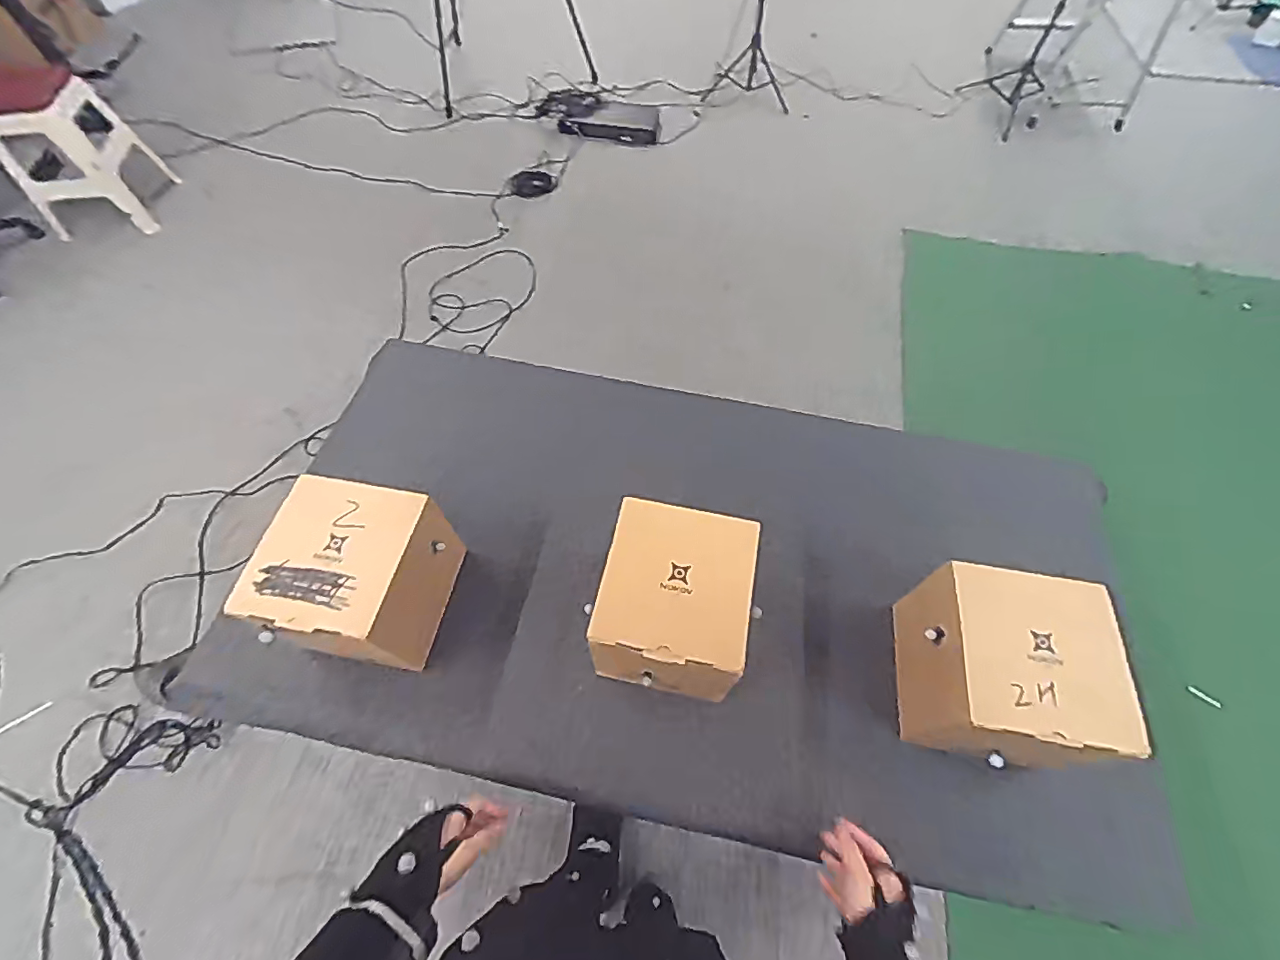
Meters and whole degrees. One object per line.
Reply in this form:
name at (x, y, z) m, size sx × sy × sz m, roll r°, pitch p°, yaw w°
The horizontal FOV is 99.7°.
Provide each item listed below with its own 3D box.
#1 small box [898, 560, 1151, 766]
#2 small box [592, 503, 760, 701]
small box at (0.414, 0.215, 0.624) m, size 0.168 × 0.176 × 0.179 m, roll 8°, pitch 60°, yaw 7°
small box at (0.044, 0.155, 0.668) m, size 0.168 × 0.176 × 0.179 m, roll 10°, pitch 60°, yaw 6°
